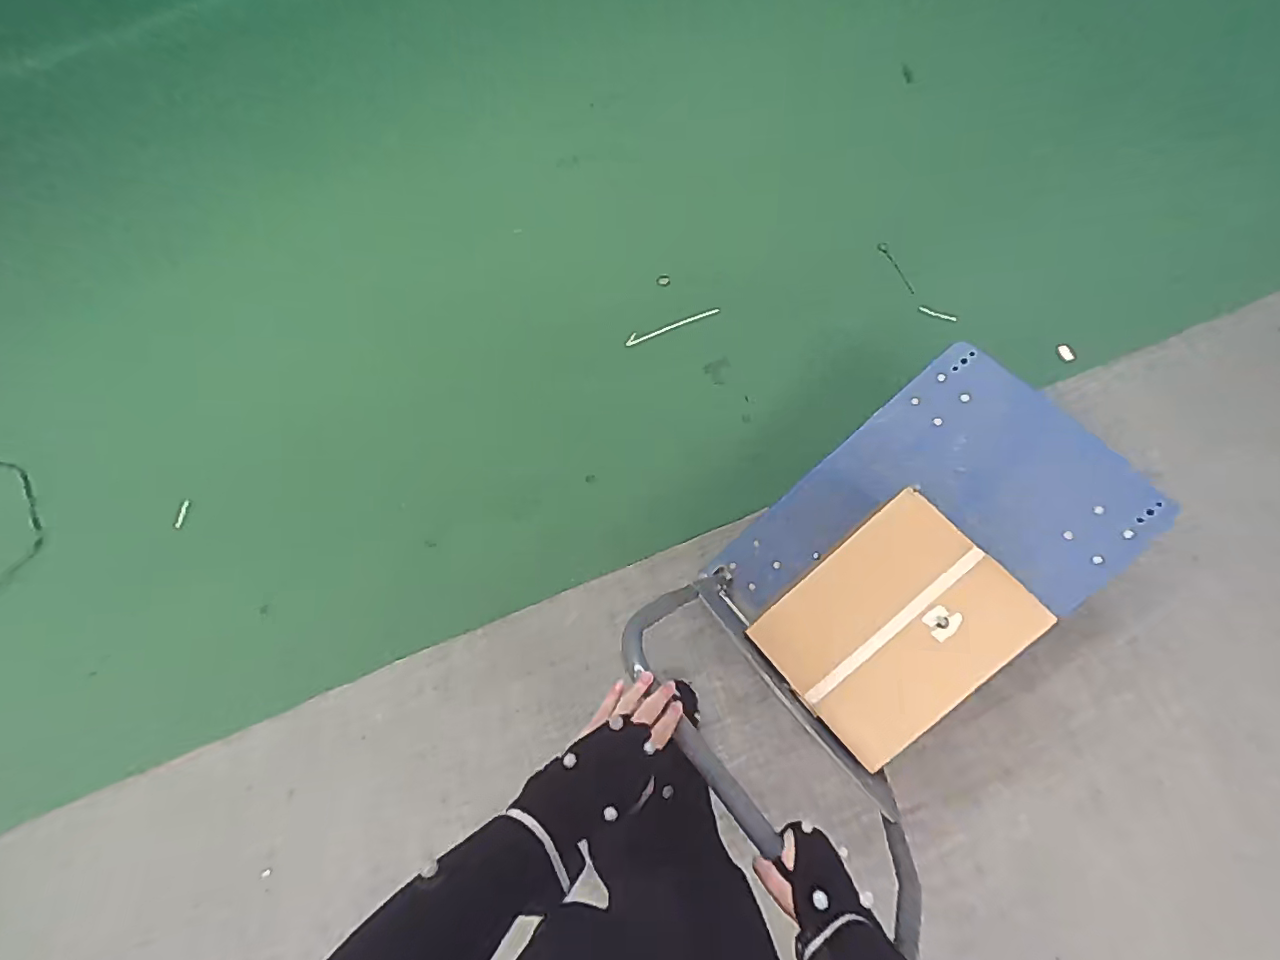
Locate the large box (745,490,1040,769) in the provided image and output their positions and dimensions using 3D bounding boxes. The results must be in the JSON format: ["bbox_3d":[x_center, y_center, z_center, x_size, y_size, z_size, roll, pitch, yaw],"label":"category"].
[{"bbox_3d":[0.470,0.286,1.102,0.408,0.320,0.320,-43,74,4],"label":"large box"}]
